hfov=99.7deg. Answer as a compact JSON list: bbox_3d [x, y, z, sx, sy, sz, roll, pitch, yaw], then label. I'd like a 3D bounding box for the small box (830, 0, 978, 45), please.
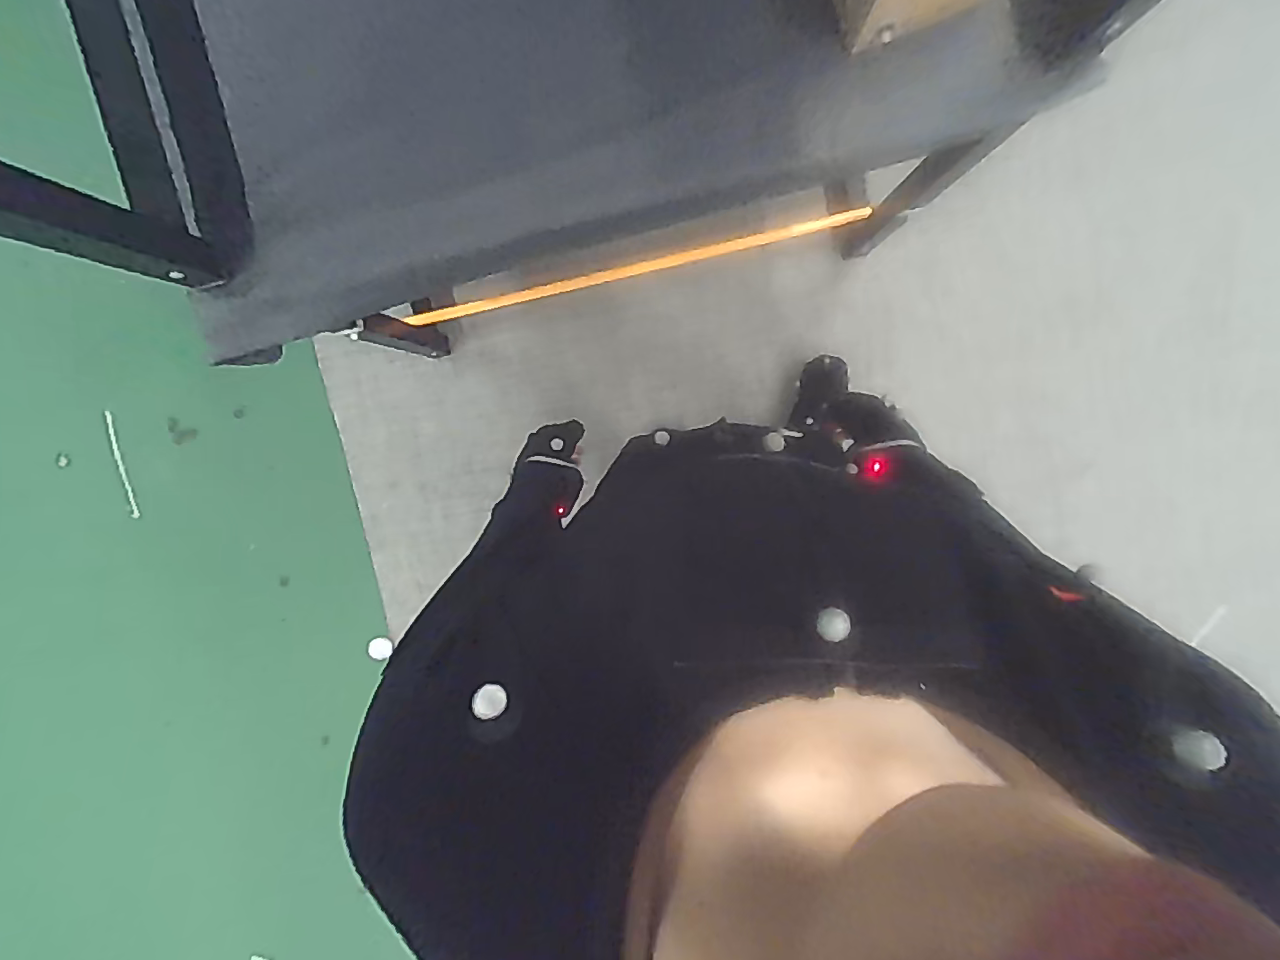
[{"bbox_3d":[0.305,-0.626,0.587,0.168,0.176,0.179,-18,93,5],"label":"small box"}]
